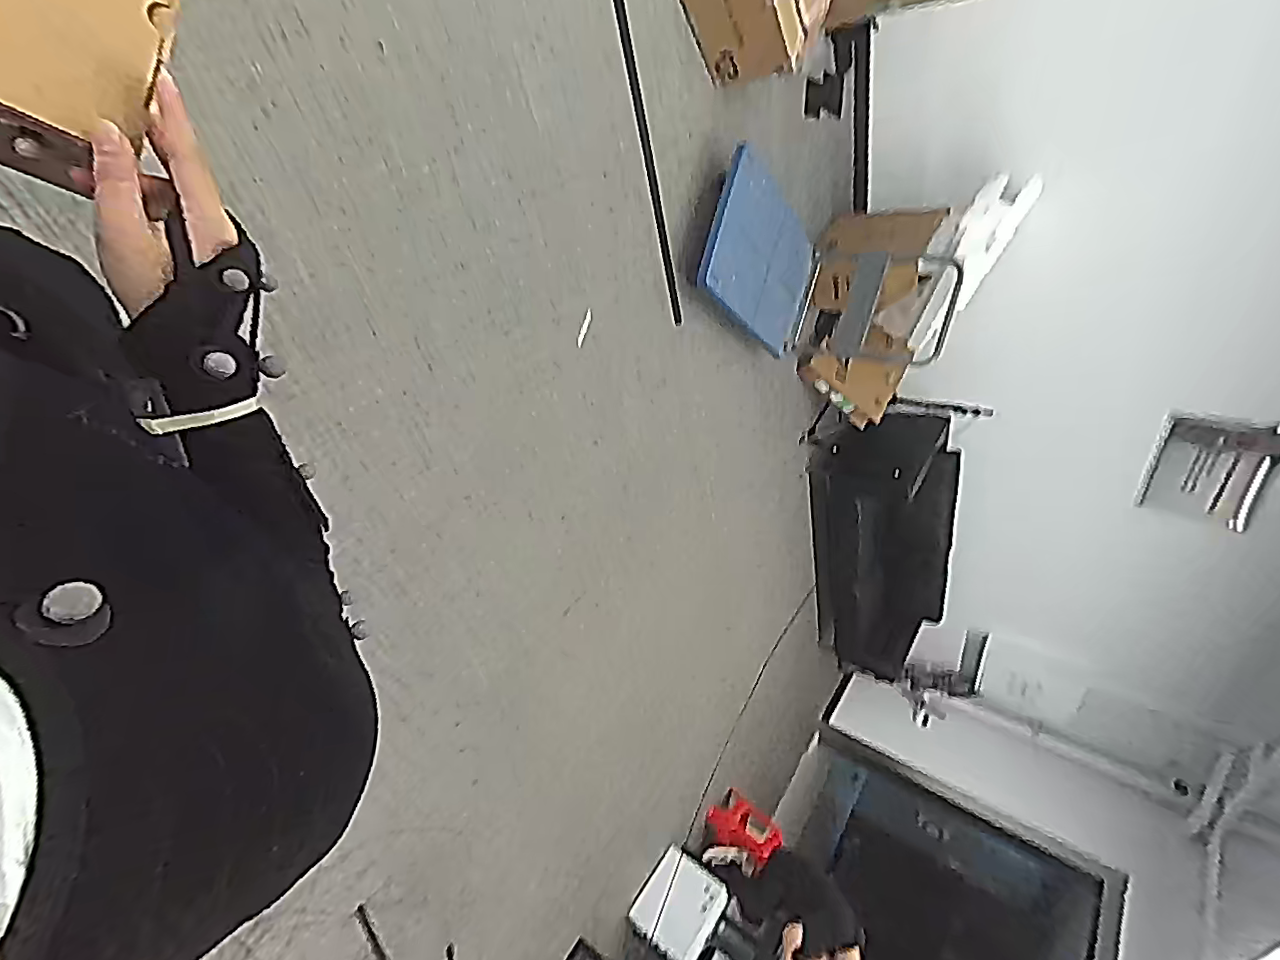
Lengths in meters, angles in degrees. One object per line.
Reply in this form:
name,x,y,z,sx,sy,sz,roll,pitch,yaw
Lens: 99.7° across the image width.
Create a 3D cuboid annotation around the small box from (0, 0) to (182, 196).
small box,-0.380,-0.283,0.295,0.179,0.176,0.168,14,90,-50
